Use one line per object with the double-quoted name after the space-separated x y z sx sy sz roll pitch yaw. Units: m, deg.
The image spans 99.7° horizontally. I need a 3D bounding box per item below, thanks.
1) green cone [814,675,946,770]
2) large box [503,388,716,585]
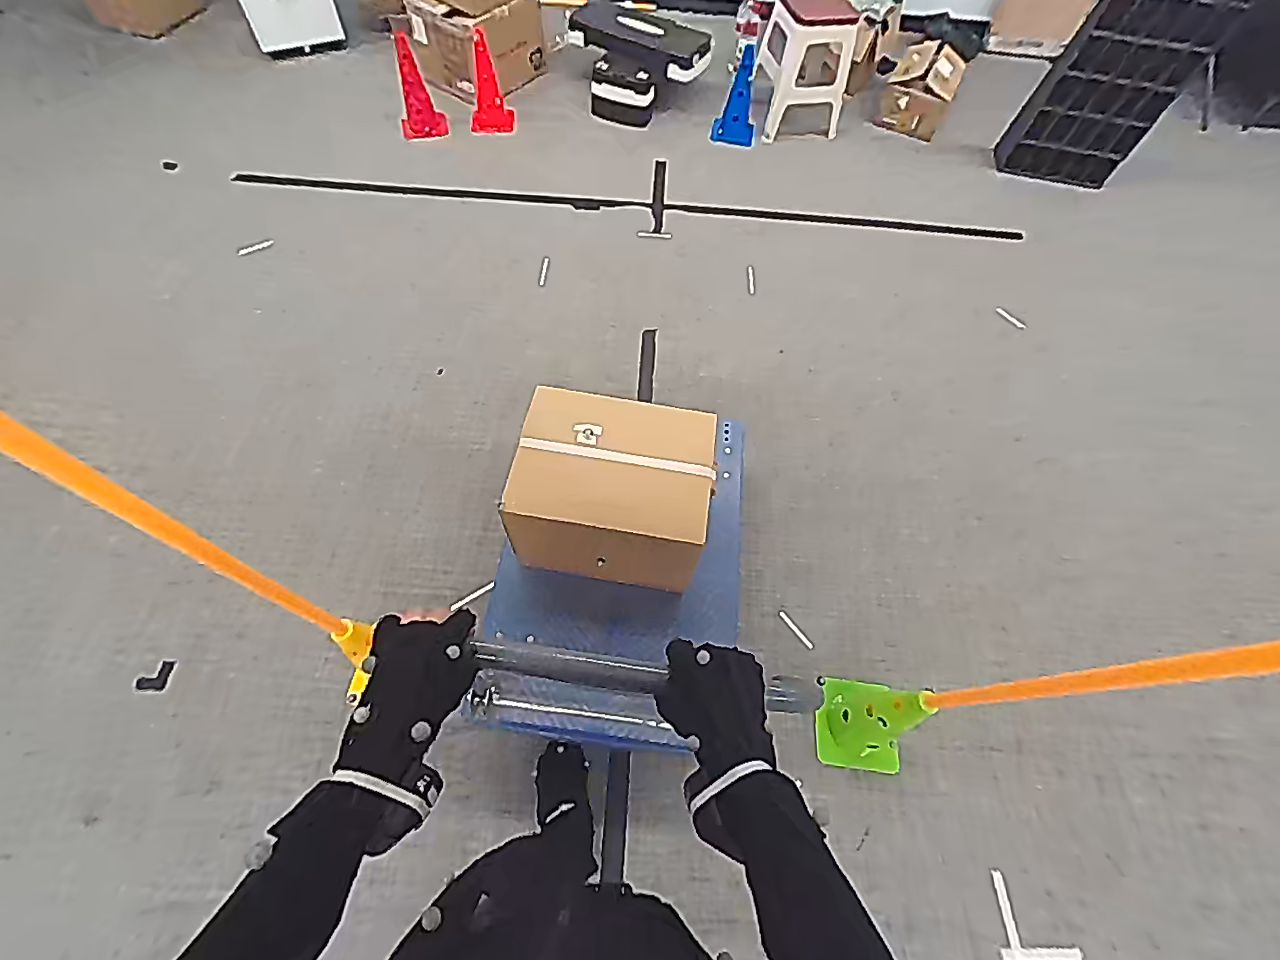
0.544 0.511 1.184 0.202 0.368 0.200 8 60 -1 "green cone"
-0.056 0.029 1.248 0.408 0.320 0.320 10 61 2 "large box"
